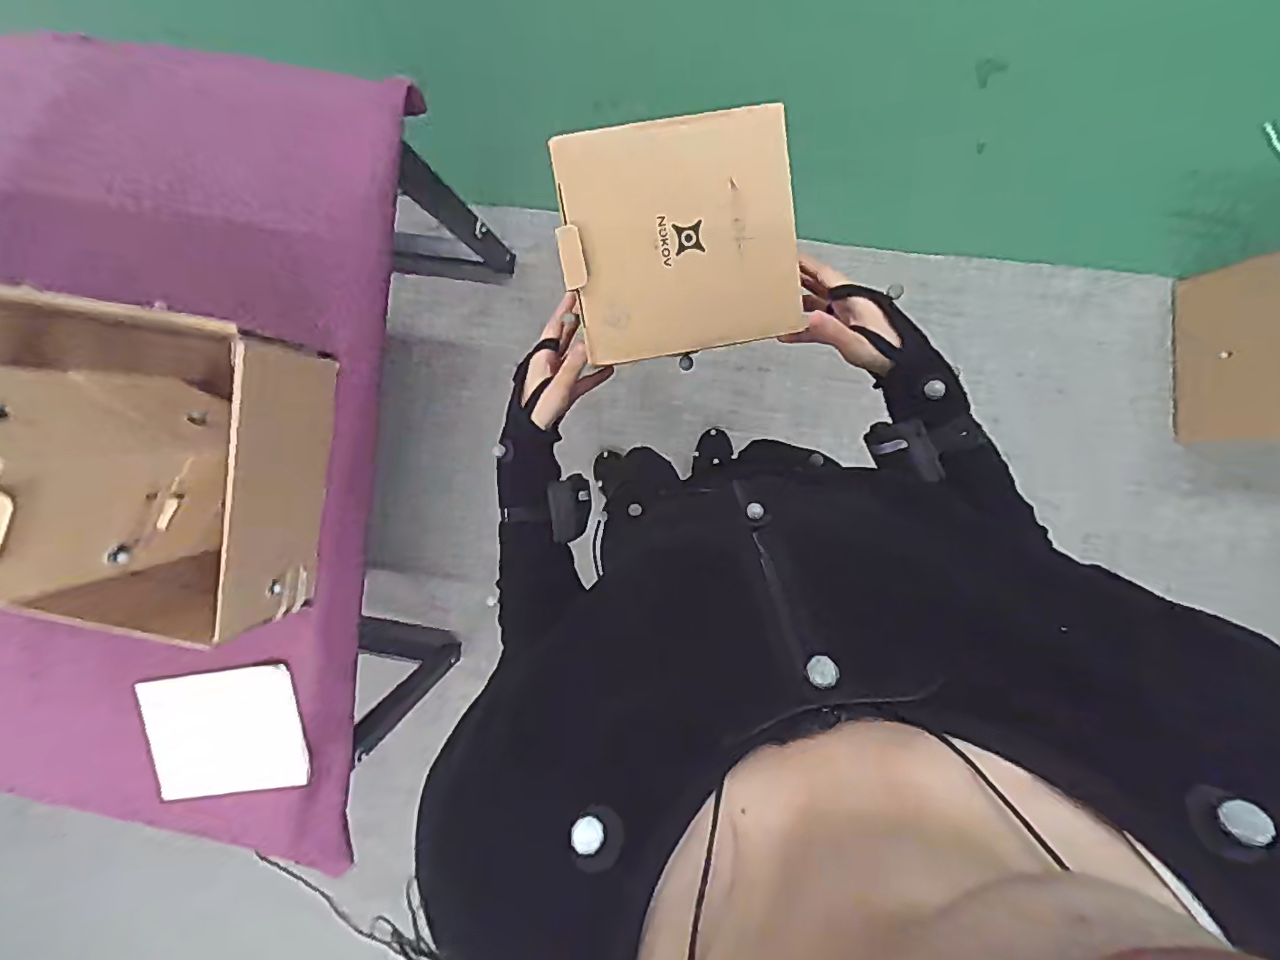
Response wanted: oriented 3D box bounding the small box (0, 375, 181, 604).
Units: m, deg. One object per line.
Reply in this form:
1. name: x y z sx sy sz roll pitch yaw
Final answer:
1. small box: -0.625 0.000 0.540 0.179 0.176 0.168 31 98 3

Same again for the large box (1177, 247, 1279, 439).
1. large box: 1.509 -0.309 1.210 0.320 0.320 0.408 -6 93 5

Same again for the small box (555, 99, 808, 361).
1. small box: 0.030 -0.200 0.482 0.179 0.176 0.168 -9 103 -3
